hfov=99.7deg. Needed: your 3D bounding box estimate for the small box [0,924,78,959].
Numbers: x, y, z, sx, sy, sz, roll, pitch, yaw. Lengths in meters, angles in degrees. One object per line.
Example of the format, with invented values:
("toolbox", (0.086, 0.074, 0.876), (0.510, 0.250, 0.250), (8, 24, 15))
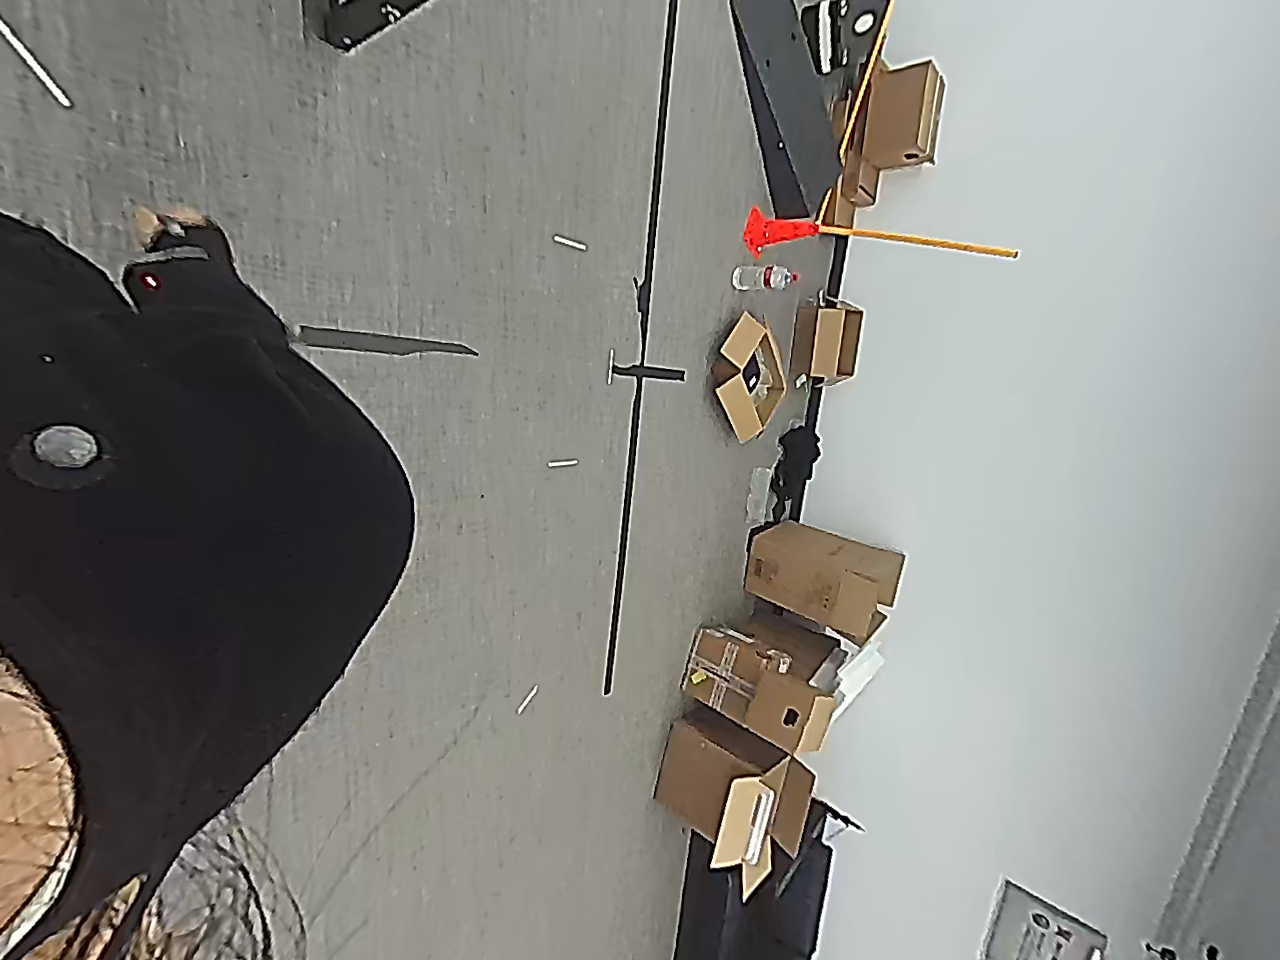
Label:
("small box", (-1.292, 1.089, 1.129), (0.168, 0.176, 0.179), (-15, 114, -48))
